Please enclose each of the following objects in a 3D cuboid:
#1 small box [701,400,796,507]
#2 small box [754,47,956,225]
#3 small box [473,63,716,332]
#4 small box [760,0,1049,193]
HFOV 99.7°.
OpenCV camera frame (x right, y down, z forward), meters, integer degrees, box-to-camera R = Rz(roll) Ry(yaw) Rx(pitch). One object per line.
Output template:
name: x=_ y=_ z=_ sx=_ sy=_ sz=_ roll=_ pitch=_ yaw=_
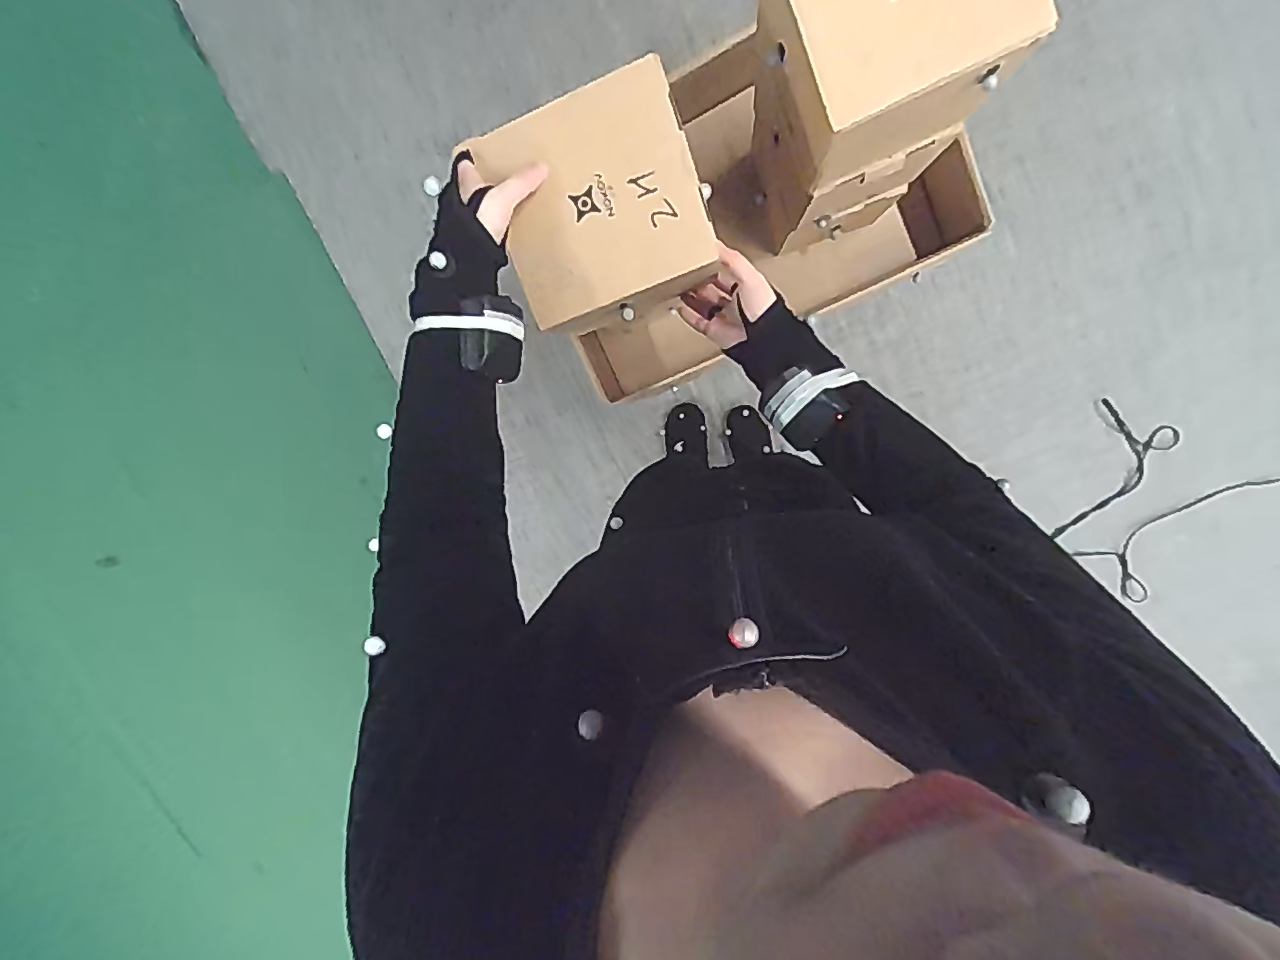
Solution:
small box: x=0.275 y=-0.065 z=1.377 sx=0.168 sy=0.176 sz=0.179 roll=32 pitch=68 yaw=29
small box: x=0.245 y=-0.433 z=0.657 sx=0.168 sy=0.176 sz=0.179 roll=-20 pitch=97 yaw=12
small box: x=-0.030 y=-0.253 z=0.539 sx=0.179 sy=0.176 sz=0.168 roll=-18 pitch=102 yaw=10
small box: x=0.218 y=-0.400 z=0.500 sx=0.179 sy=0.176 sz=0.168 roll=-21 pitch=98 yaw=11
